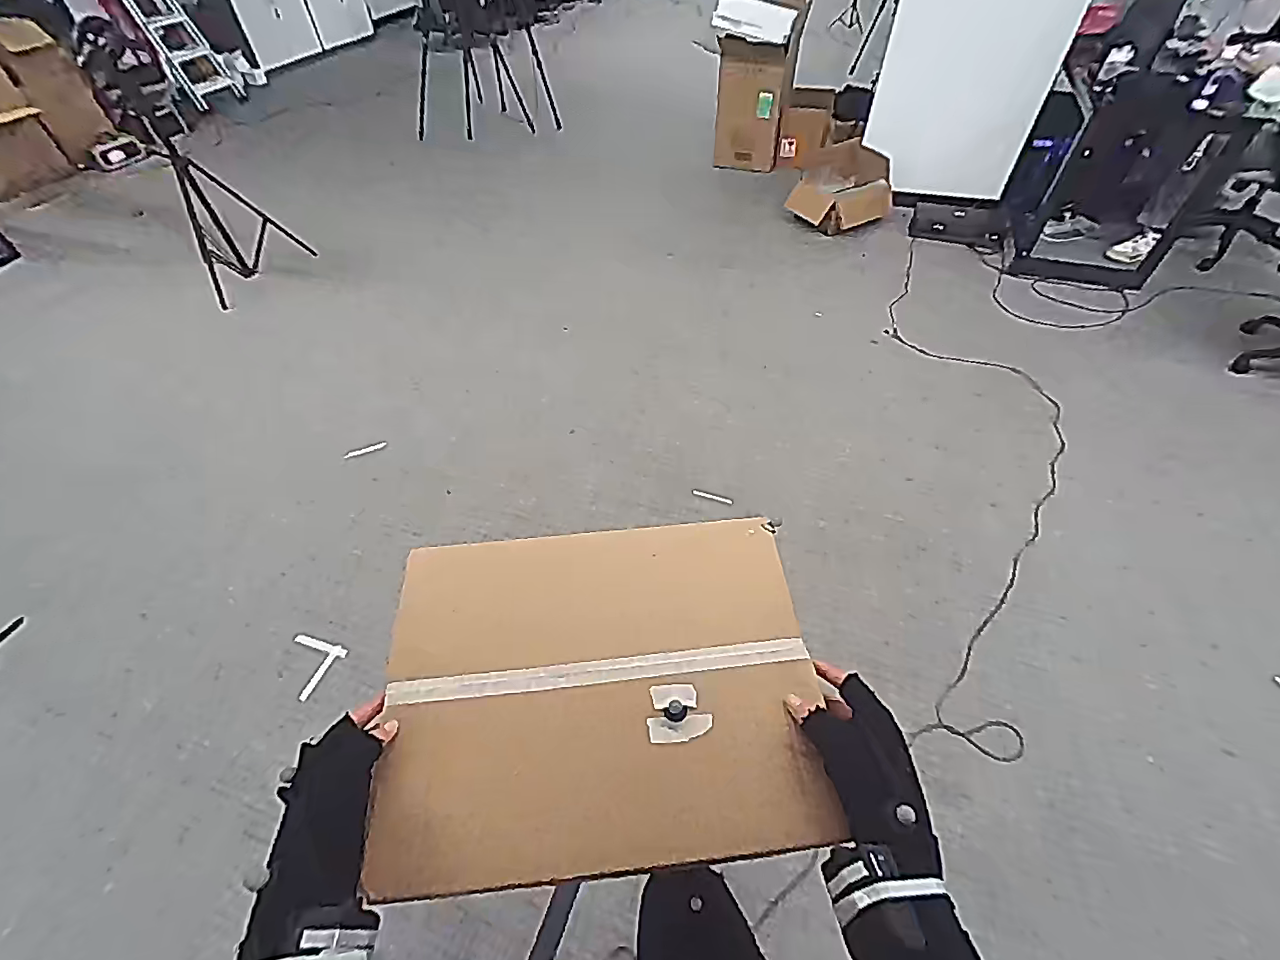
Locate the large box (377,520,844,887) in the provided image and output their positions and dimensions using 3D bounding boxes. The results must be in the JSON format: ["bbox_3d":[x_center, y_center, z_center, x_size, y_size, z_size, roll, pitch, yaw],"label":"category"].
[{"bbox_3d":[-0.036,0.276,0.657,0.408,0.320,0.320,-5,54,-3],"label":"large box"}]
